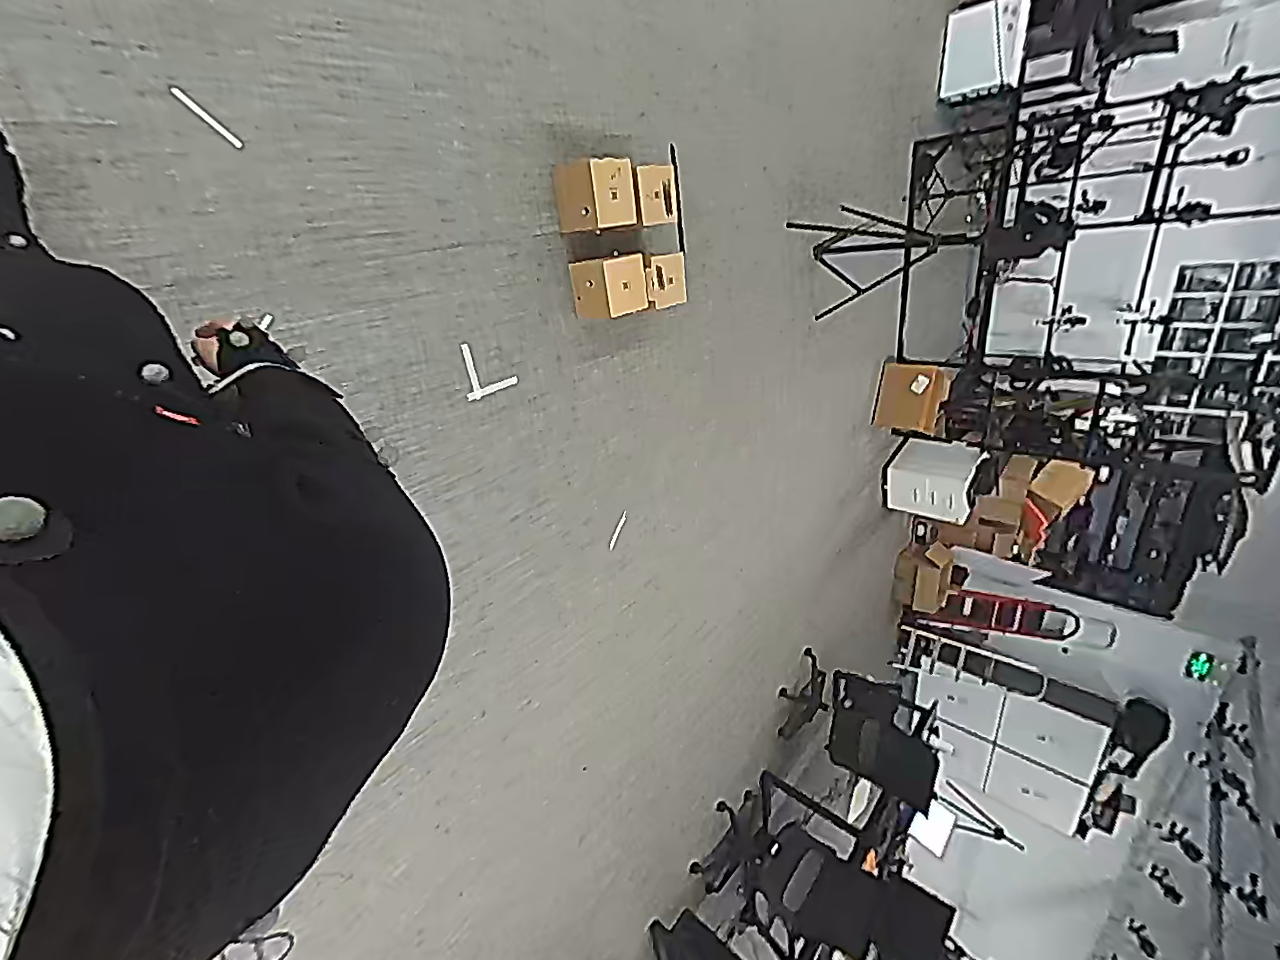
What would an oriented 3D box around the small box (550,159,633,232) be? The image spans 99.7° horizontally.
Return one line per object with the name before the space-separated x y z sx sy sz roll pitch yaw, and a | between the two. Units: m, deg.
small box | -0.145 -0.838 1.602 0.168 0.176 0.179 -29 123 -40
